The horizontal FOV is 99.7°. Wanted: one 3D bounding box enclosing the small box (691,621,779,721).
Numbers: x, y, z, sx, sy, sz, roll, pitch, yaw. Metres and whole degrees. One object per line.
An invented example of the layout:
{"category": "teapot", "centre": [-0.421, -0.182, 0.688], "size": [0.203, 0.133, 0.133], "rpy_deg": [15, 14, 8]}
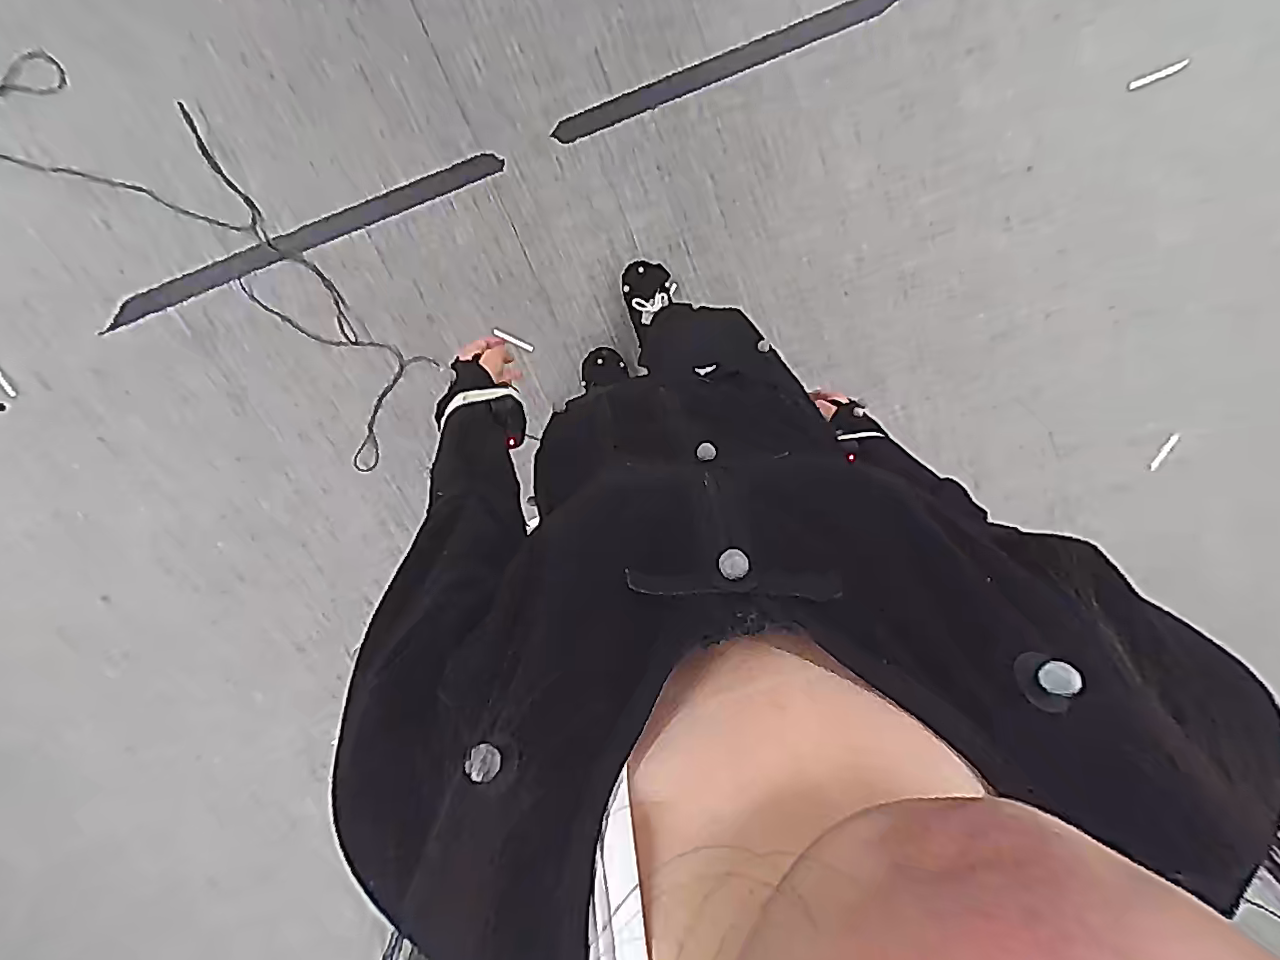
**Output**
{"category": "small box", "centre": [0.269, 0.543, 1.561], "size": [0.168, 0.176, 0.179], "rpy_deg": [-32, 106, 3]}
